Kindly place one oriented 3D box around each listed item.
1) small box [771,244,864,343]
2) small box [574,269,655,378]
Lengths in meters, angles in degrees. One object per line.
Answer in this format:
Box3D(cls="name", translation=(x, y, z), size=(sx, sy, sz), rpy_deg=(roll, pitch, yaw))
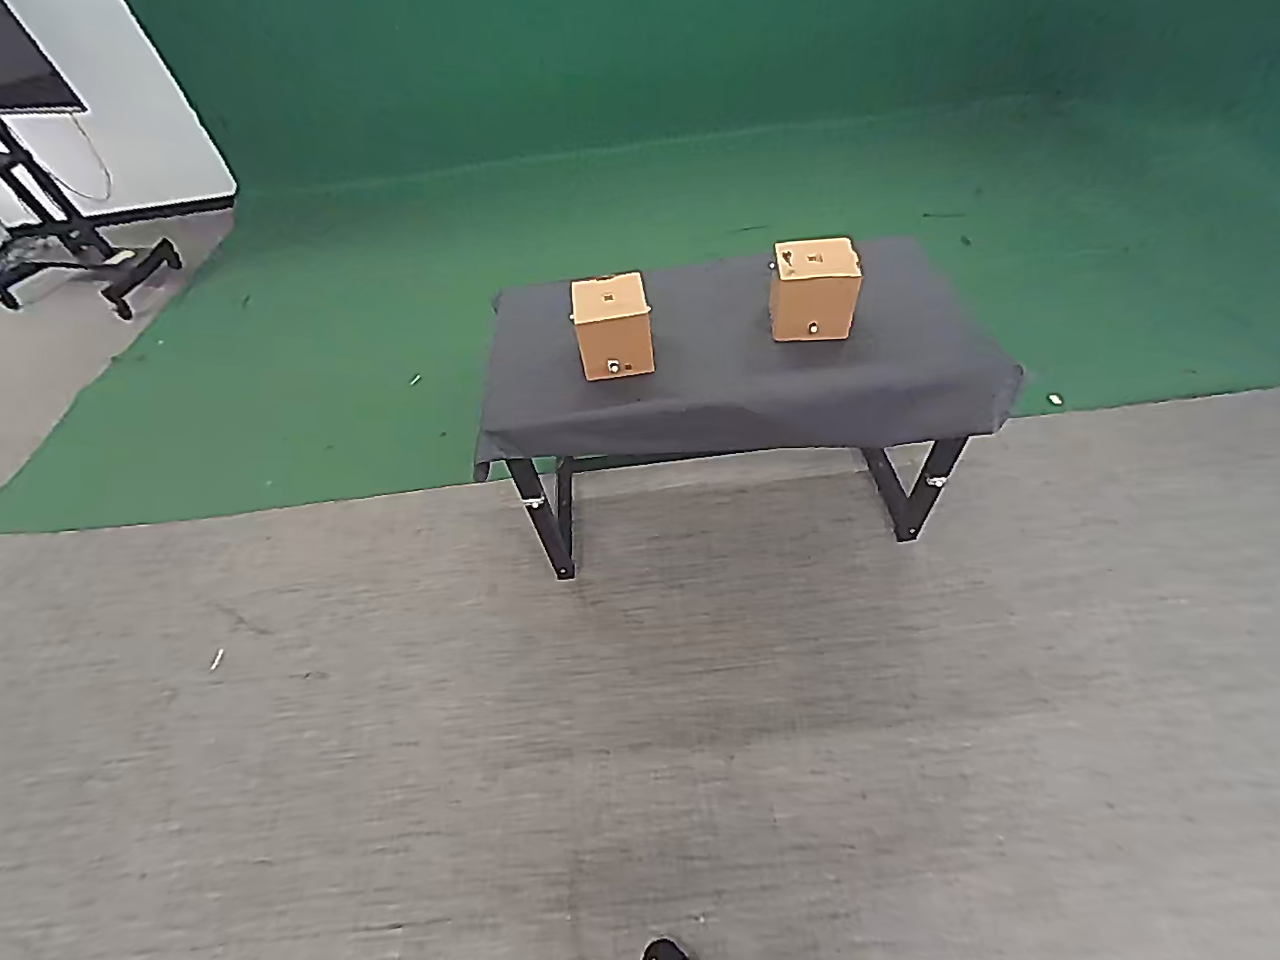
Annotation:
Box3D(cls="small box", translation=(0.417, -0.445, 1.301), size=(0.179, 0.176, 0.168), rpy_deg=(0, 51, 7))
Box3D(cls="small box", translation=(-0.059, -0.367, 1.276), size=(0.168, 0.176, 0.179), rpy_deg=(-8, 50, 3))
